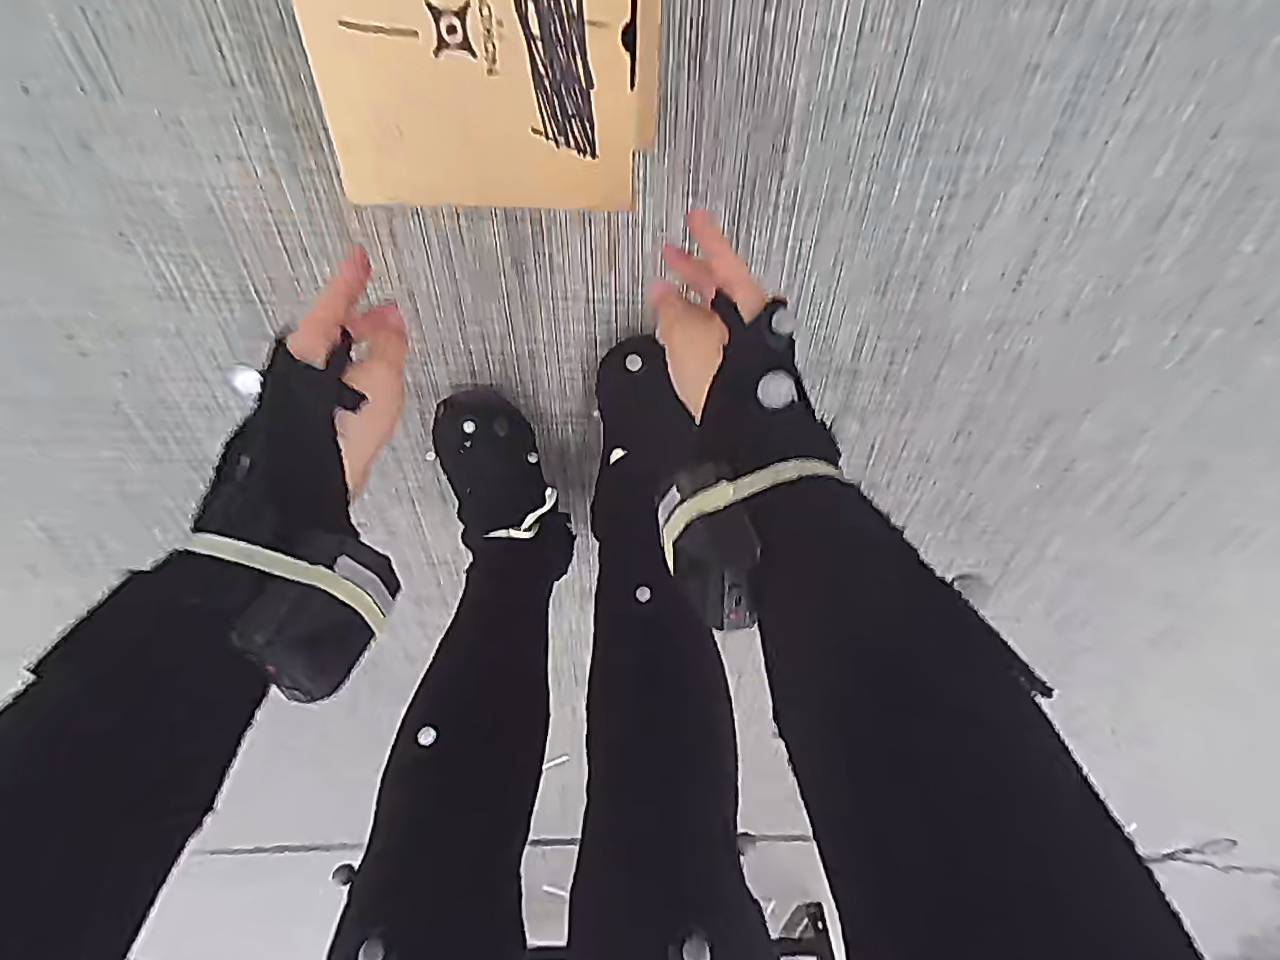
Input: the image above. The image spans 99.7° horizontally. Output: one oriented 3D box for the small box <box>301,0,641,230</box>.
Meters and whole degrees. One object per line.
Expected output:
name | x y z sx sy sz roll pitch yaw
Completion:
small box | -0.090 -0.276 0.357 0.179 0.176 0.168 1 128 -1
